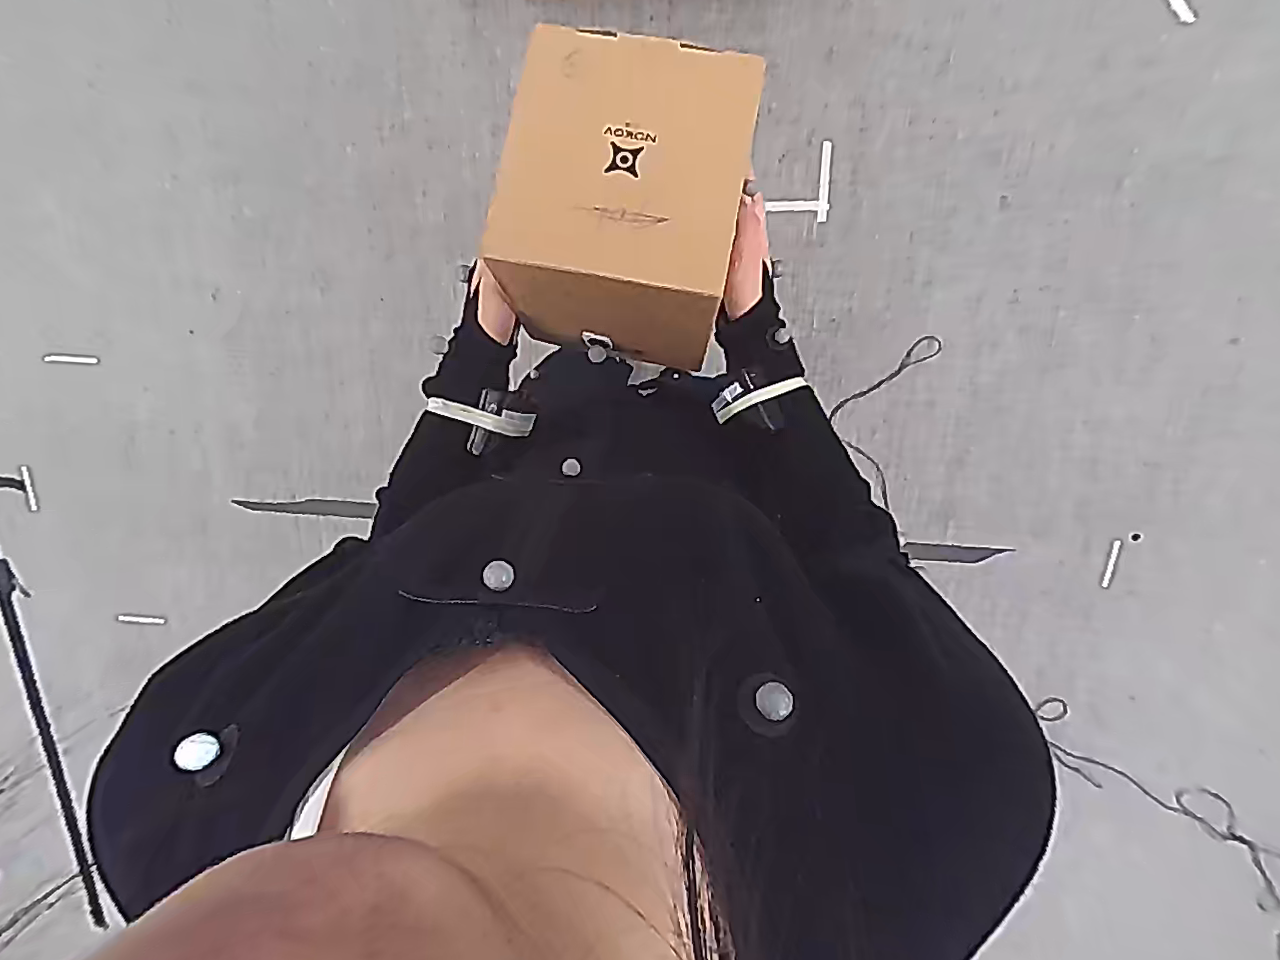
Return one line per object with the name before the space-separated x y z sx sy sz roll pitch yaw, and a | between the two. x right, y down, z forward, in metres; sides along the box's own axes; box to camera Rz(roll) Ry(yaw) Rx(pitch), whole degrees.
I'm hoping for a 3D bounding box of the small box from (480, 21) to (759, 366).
small box | -0.011 -0.214 0.446 0.168 0.176 0.179 10 85 3
